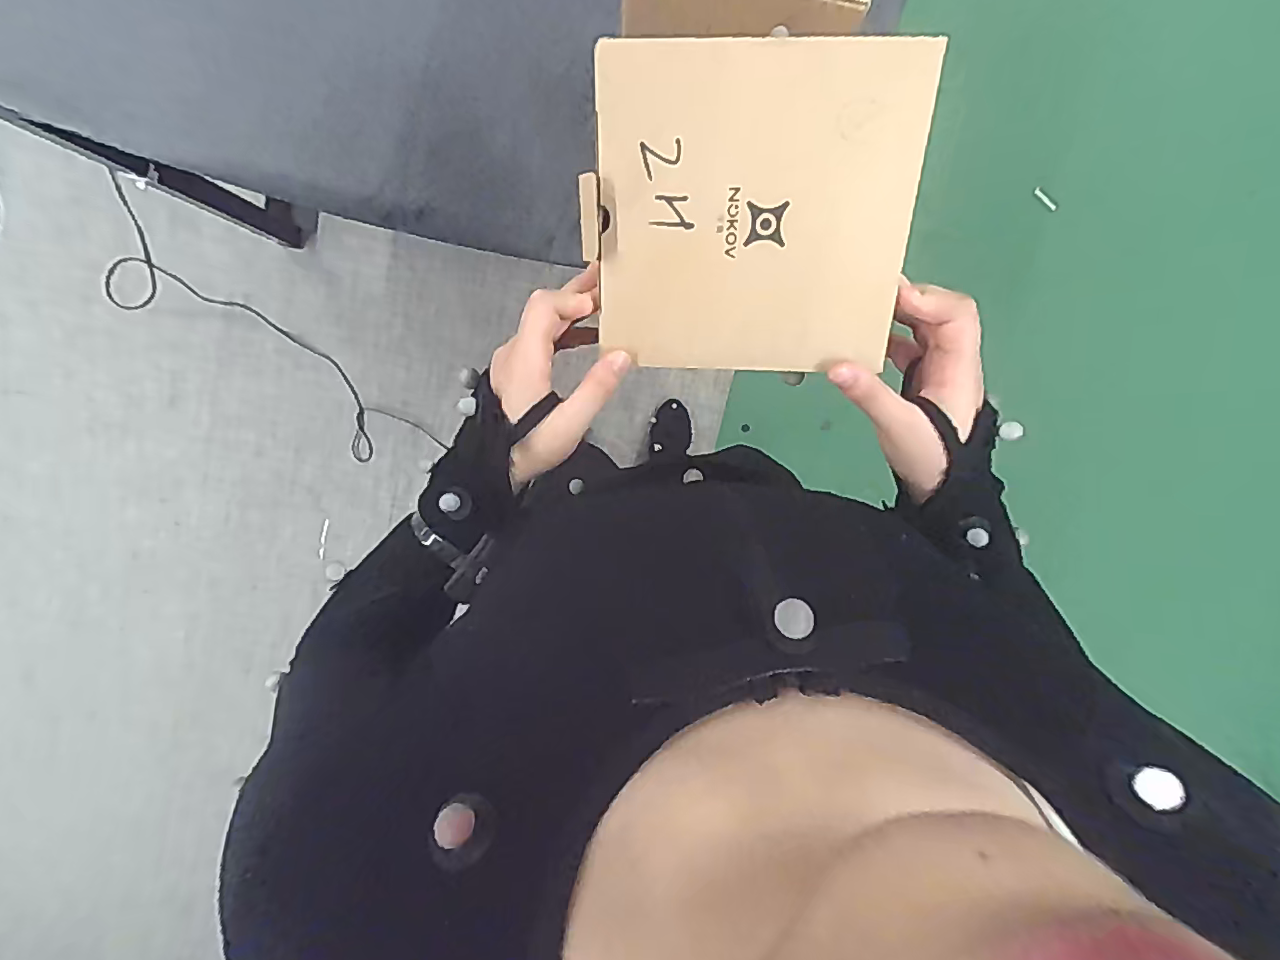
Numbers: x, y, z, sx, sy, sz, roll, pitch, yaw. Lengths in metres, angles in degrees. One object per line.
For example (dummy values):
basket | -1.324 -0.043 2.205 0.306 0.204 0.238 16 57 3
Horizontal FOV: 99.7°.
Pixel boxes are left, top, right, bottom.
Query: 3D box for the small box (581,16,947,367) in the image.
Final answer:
small box | 0.063 -0.177 0.361 0.179 0.176 0.168 3 113 5
